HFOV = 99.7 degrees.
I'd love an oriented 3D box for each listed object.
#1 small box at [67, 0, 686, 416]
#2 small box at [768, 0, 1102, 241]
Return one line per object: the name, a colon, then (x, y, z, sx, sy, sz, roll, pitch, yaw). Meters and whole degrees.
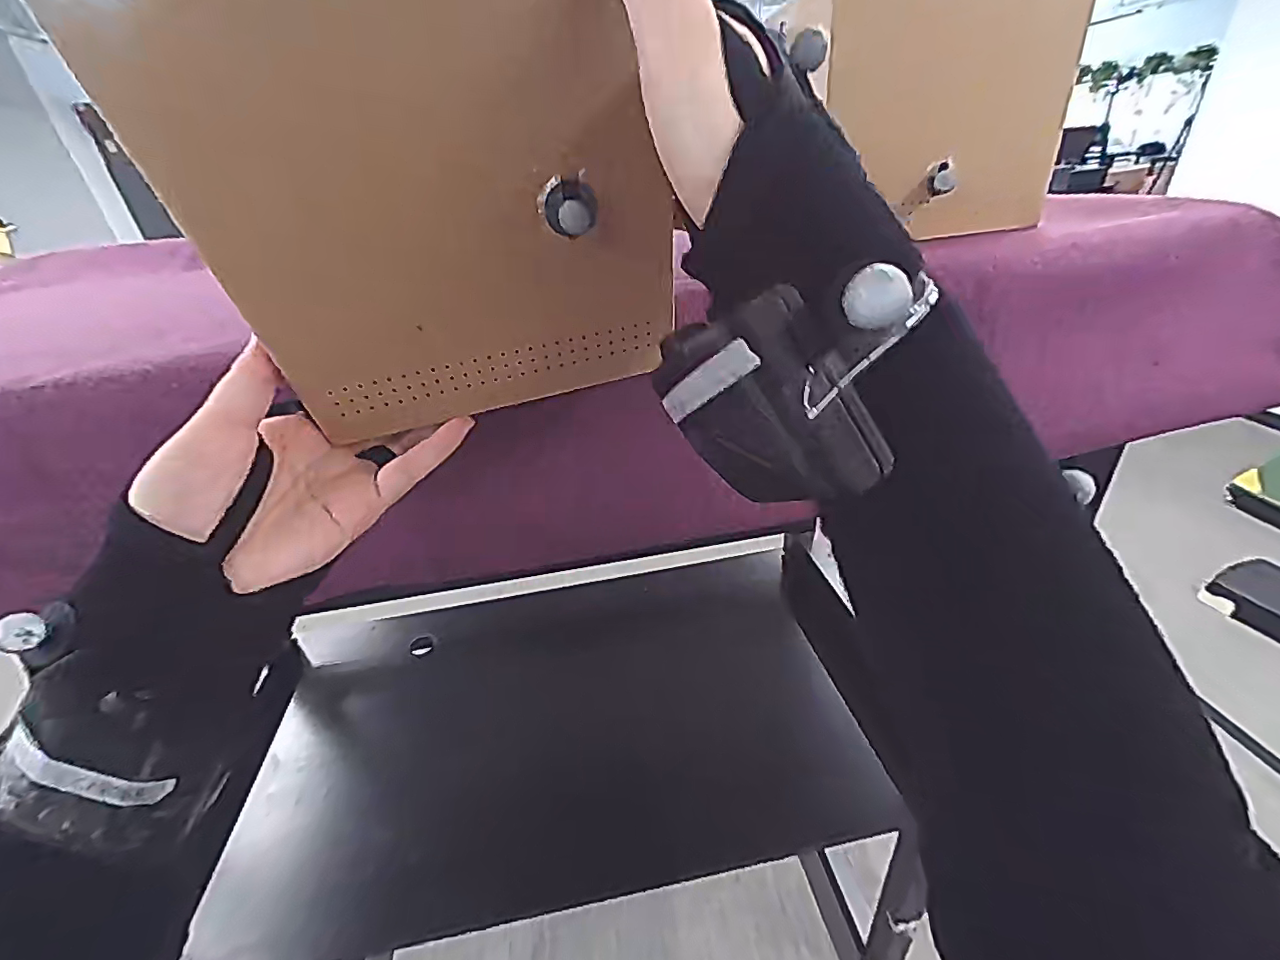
small box: (-0.087, -0.157, 0.258, 0.179, 0.176, 0.168, -16, 49, -8)
small box: (0.210, -0.300, 0.435, 0.179, 0.176, 0.168, -7, 30, -1)
